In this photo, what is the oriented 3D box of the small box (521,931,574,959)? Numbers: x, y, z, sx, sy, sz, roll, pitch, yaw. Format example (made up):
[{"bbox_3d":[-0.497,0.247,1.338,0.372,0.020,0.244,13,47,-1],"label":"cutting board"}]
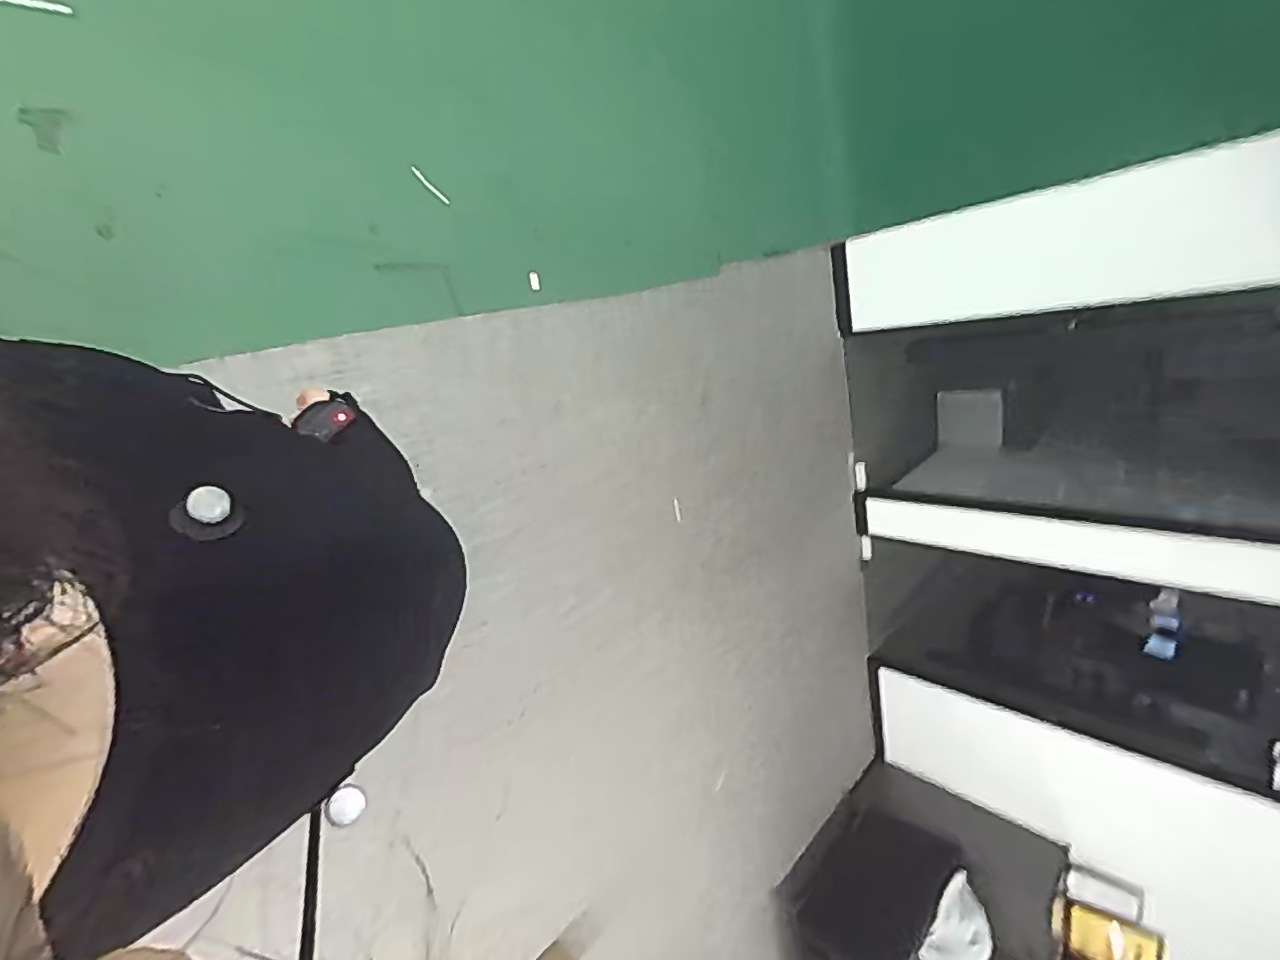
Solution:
[{"bbox_3d":[-0.334,1.811,1.955,0.179,0.176,0.168,-25,112,-39],"label":"small box"}]
